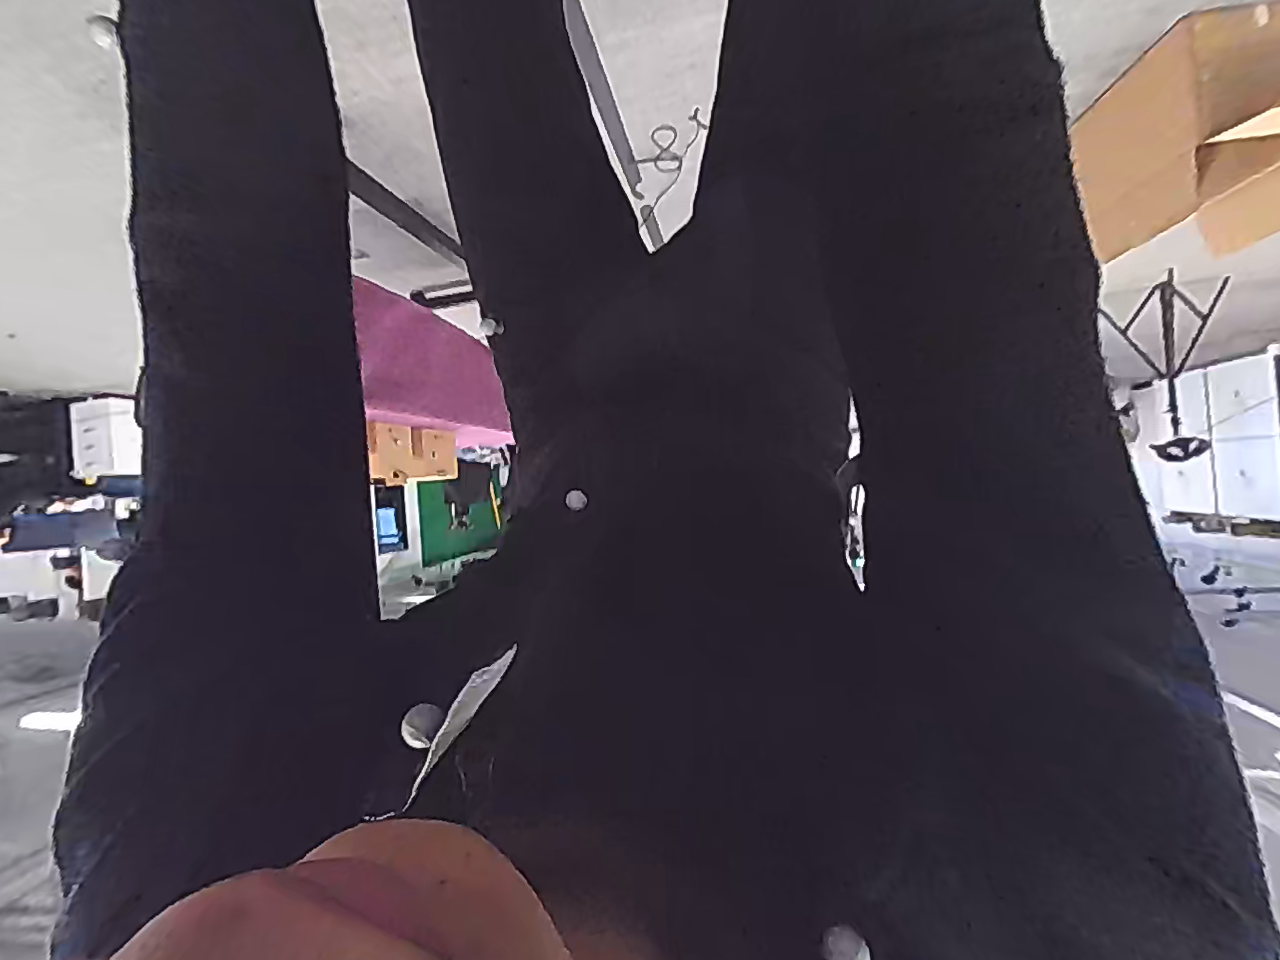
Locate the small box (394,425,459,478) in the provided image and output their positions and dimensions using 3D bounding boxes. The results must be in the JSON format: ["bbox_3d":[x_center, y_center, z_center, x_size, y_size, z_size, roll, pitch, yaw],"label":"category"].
[{"bbox_3d":[-0.766,-0.099,1.897,0.179,0.176,0.168,-4,180,21],"label":"small box"}]

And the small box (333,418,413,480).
[{"bbox_3d":[-0.823,-0.091,1.657,0.179,0.176,0.168,-5,-179,11],"label":"small box"}]
